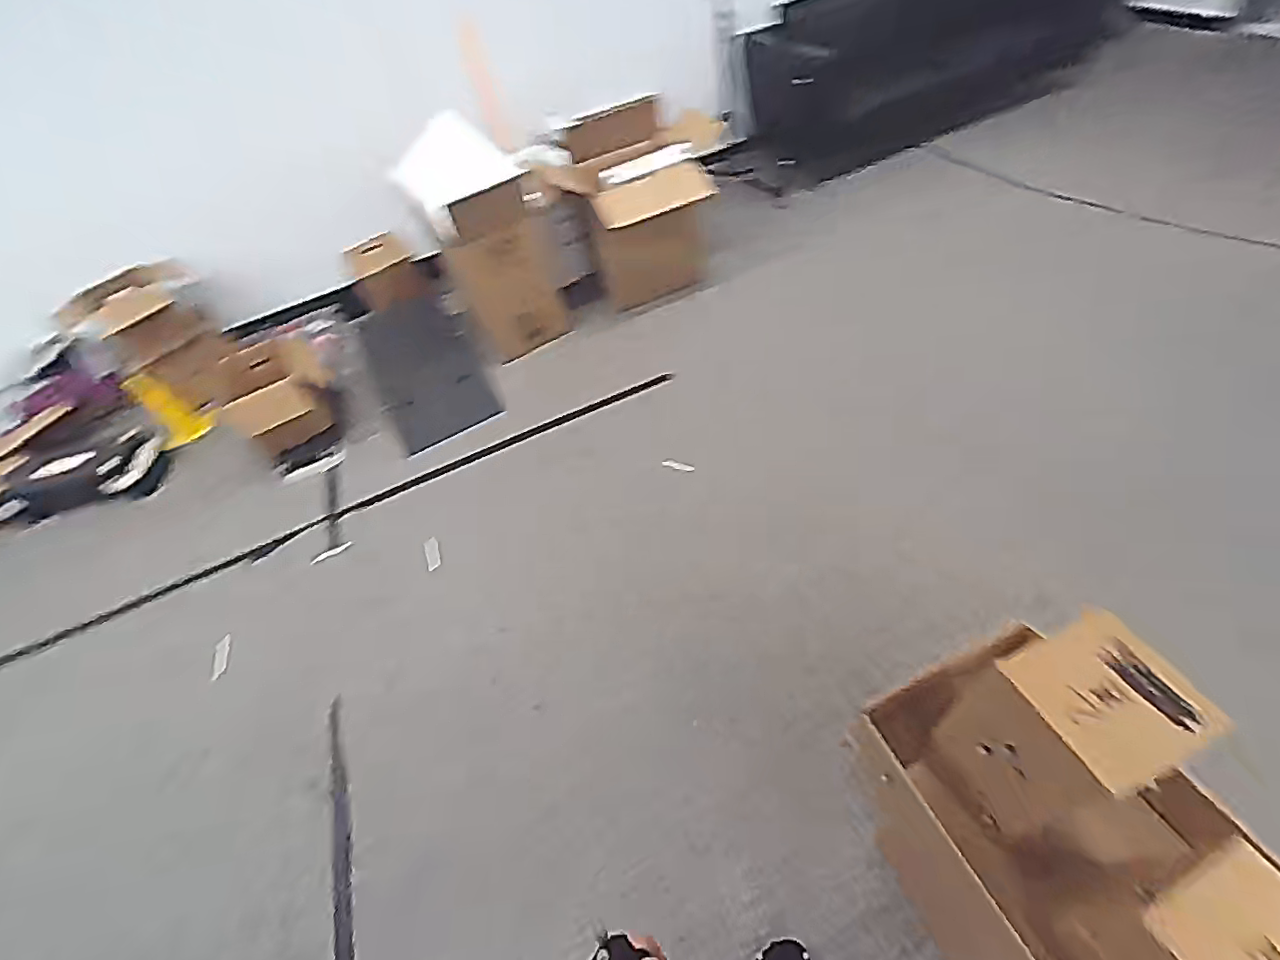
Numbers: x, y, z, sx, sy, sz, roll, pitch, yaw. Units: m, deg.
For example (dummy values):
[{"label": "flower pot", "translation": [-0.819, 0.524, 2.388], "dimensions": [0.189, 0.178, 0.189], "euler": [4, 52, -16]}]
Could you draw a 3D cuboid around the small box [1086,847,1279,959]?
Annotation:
[{"label": "small box", "translation": [0.703, 0.581, 0.653], "dimensions": [0.179, 0.176, 0.168], "euler": [-26, 50, -9]}]

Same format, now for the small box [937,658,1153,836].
[{"label": "small box", "translation": [0.595, 0.408, 0.825], "dimensions": [0.179, 0.176, 0.168], "euler": [-22, 48, -9]}]
